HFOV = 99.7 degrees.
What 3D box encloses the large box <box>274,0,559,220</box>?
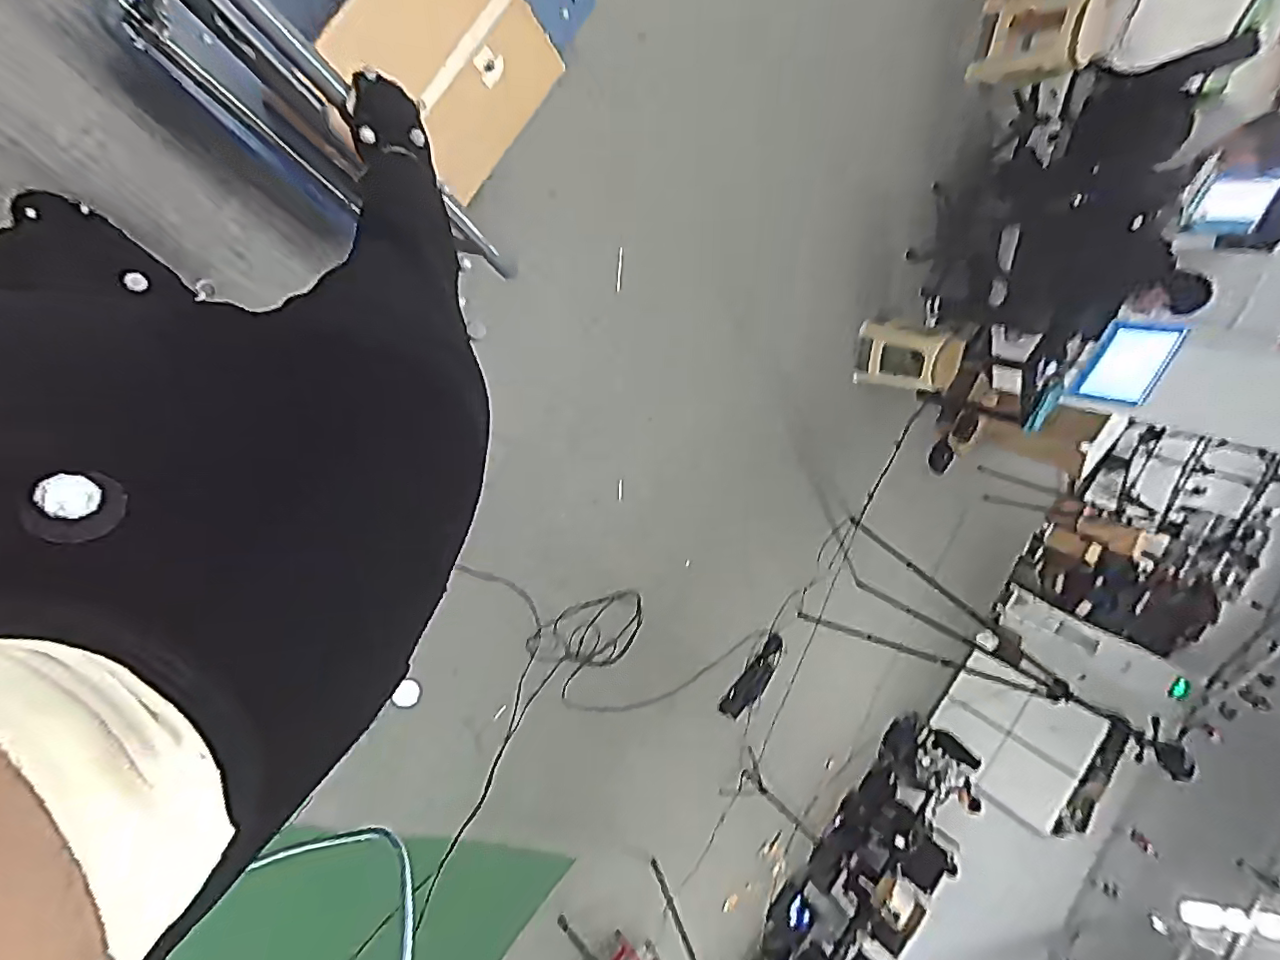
[{"bbox_3d":[-0.446,-0.790,1.081,0.320,0.320,0.408,38,83,-46],"label":"large box"}]
